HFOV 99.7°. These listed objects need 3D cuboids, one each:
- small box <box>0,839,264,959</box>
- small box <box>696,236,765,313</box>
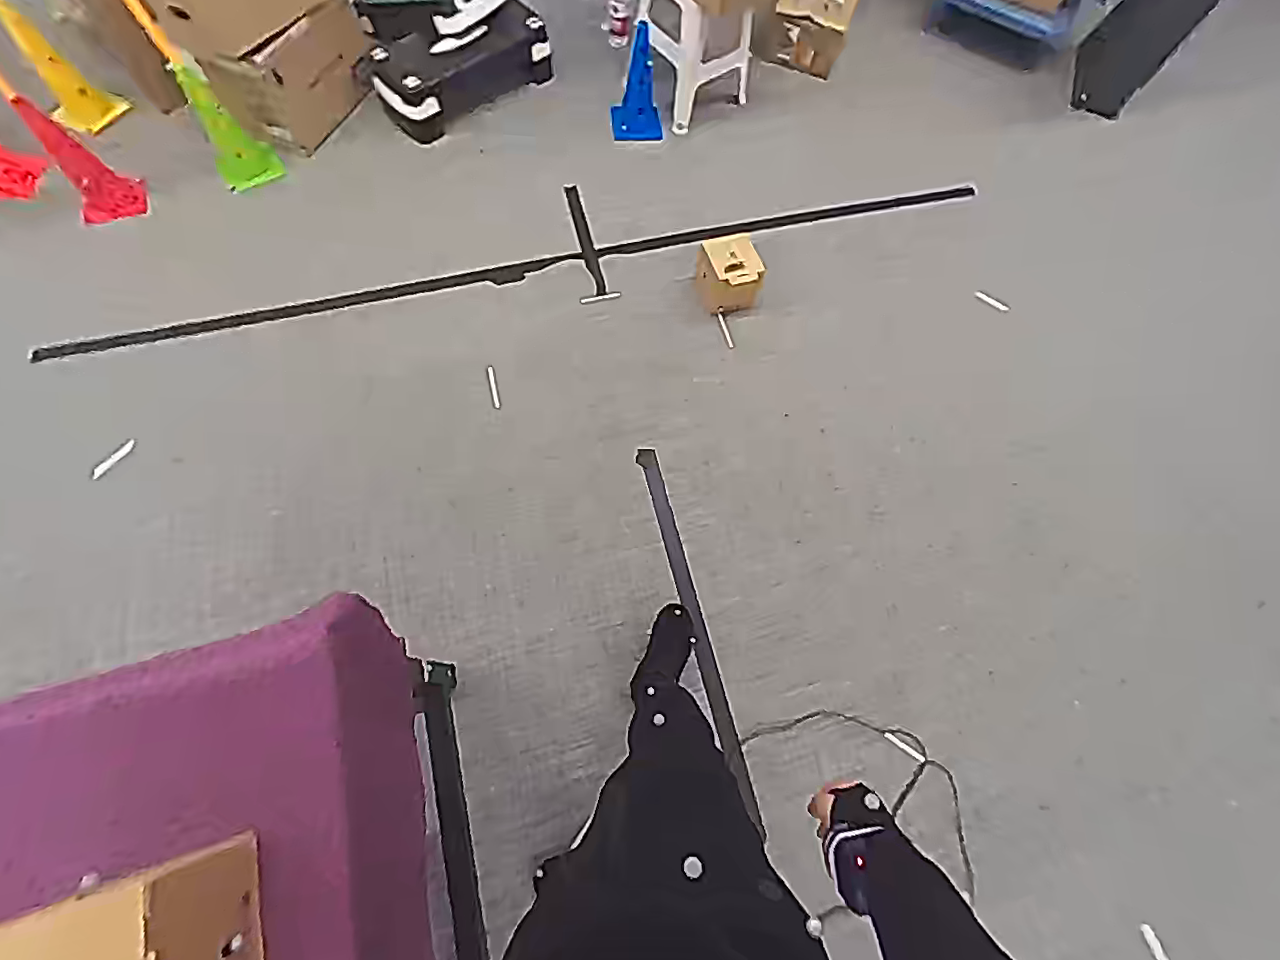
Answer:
[{"bbox_3d":[-0.515,0.492,0.536,0.179,0.176,0.168,-15,71,-9],"label":"small box"},{"bbox_3d":[0.302,-0.690,1.842,0.168,0.176,0.179,-15,70,-10],"label":"small box"}]
